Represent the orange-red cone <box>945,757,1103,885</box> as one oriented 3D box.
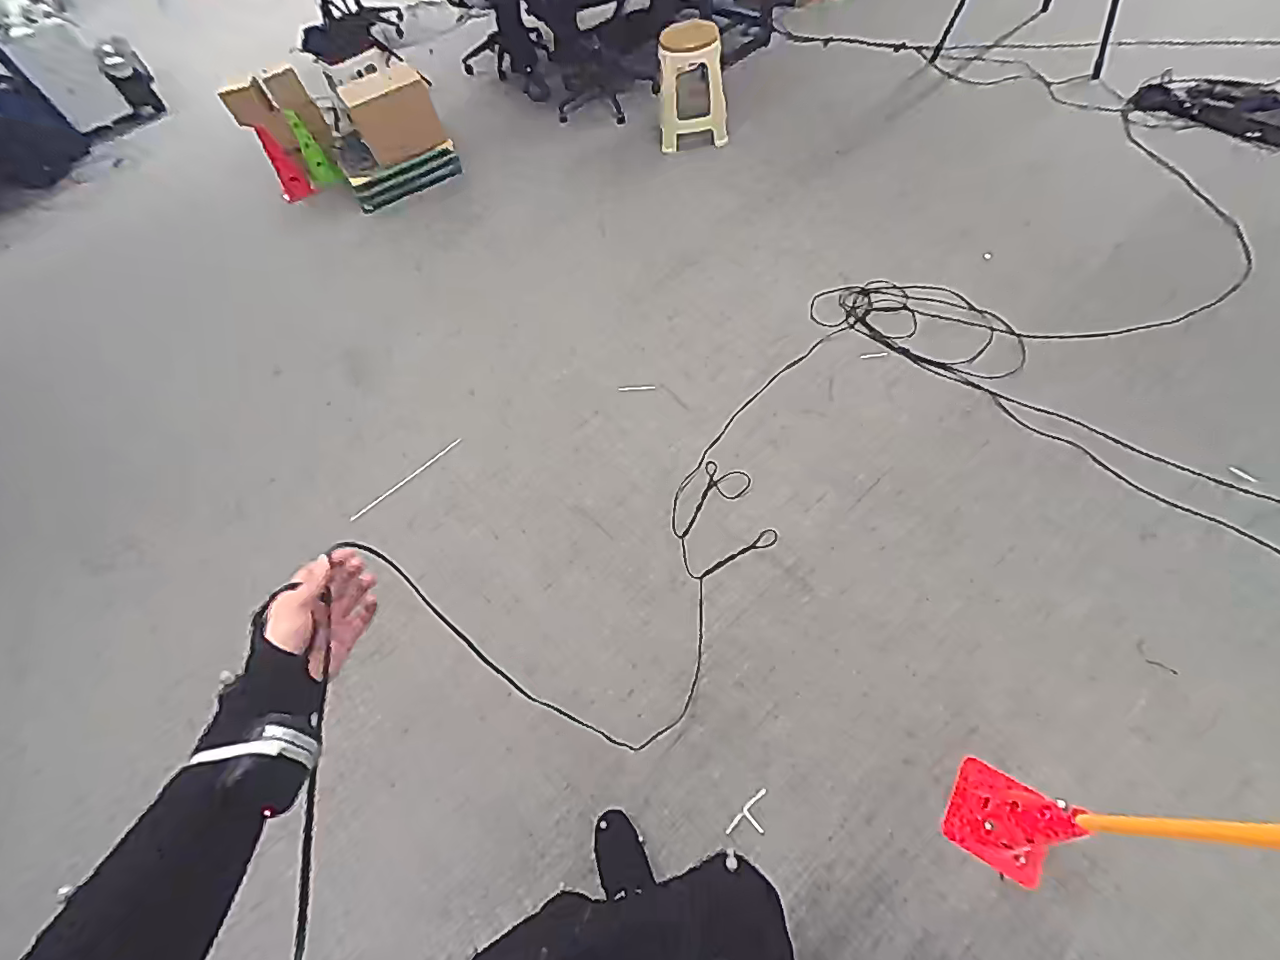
[{"bbox_3d":[0.802,0.681,1.089,0.198,0.360,0.199,27,65,22],"label":"orange-red cone"}]
